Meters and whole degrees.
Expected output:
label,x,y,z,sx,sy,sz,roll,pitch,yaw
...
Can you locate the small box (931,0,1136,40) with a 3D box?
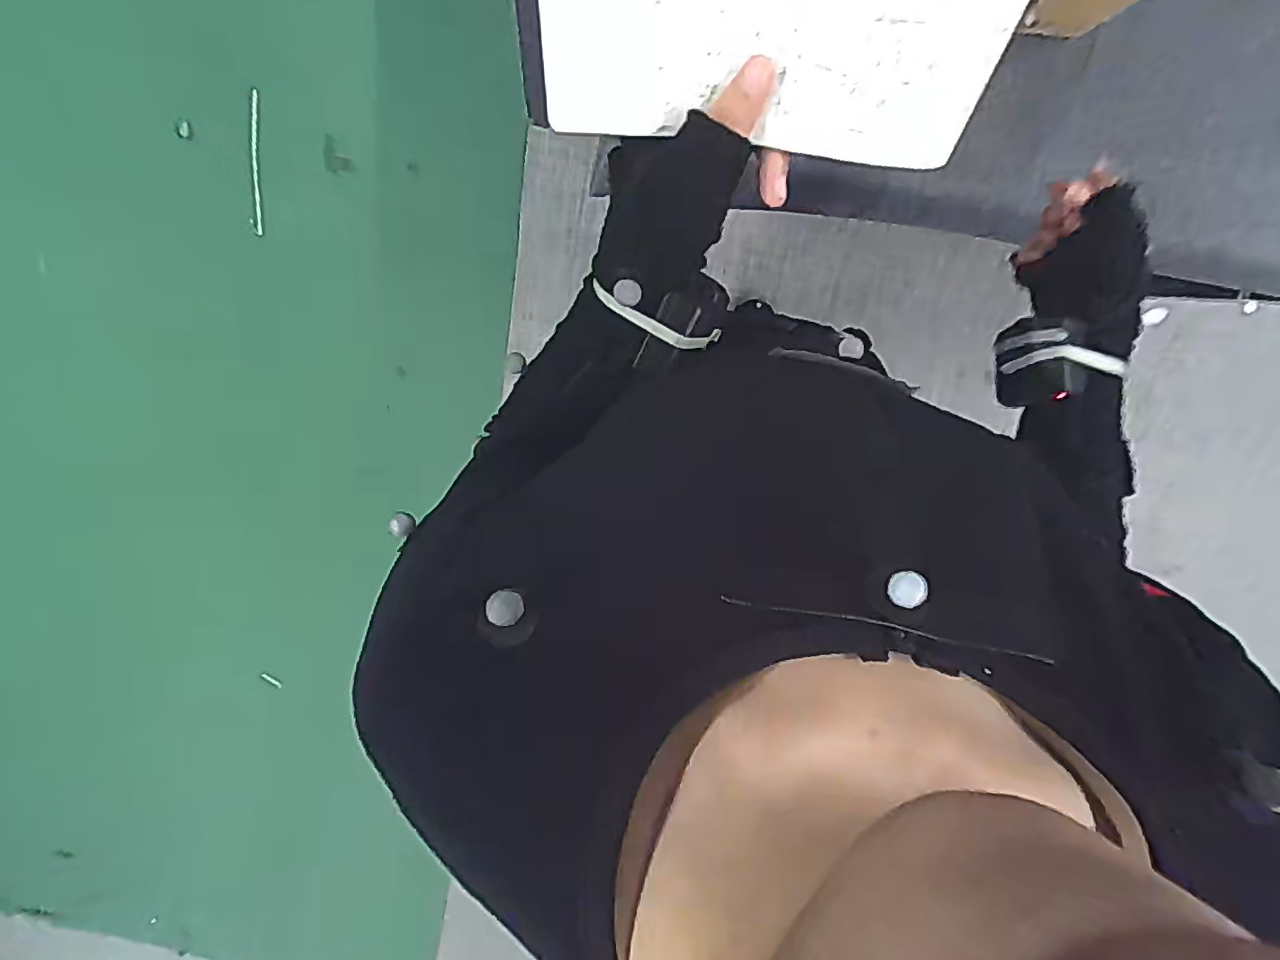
label,x,y,z,sx,sy,sz,roll,pitch,yaw
small box,0.376,-0.518,0.453,0.168,0.176,0.179,7,110,2
